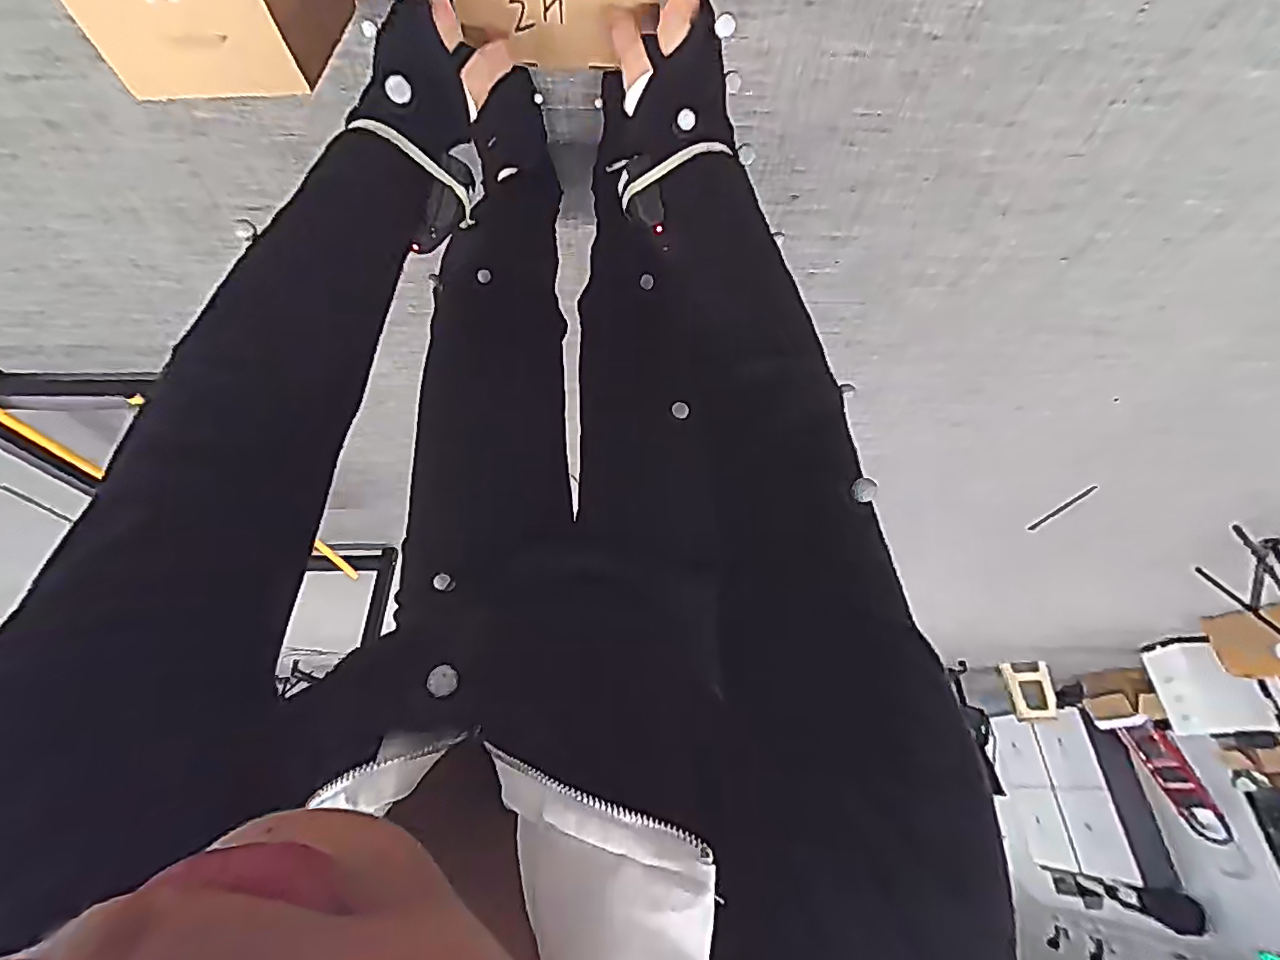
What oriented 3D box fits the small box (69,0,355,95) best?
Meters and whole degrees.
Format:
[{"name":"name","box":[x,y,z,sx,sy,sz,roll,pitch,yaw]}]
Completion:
[{"name":"small box","box":[-0.376,-0.465,0.454,0.168,0.176,0.179,0,152,3]}]

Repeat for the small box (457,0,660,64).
[{"name":"small box","box":[-0.064,-0.478,0.433,0.168,0.176,0.179,1,152,-3]}]
